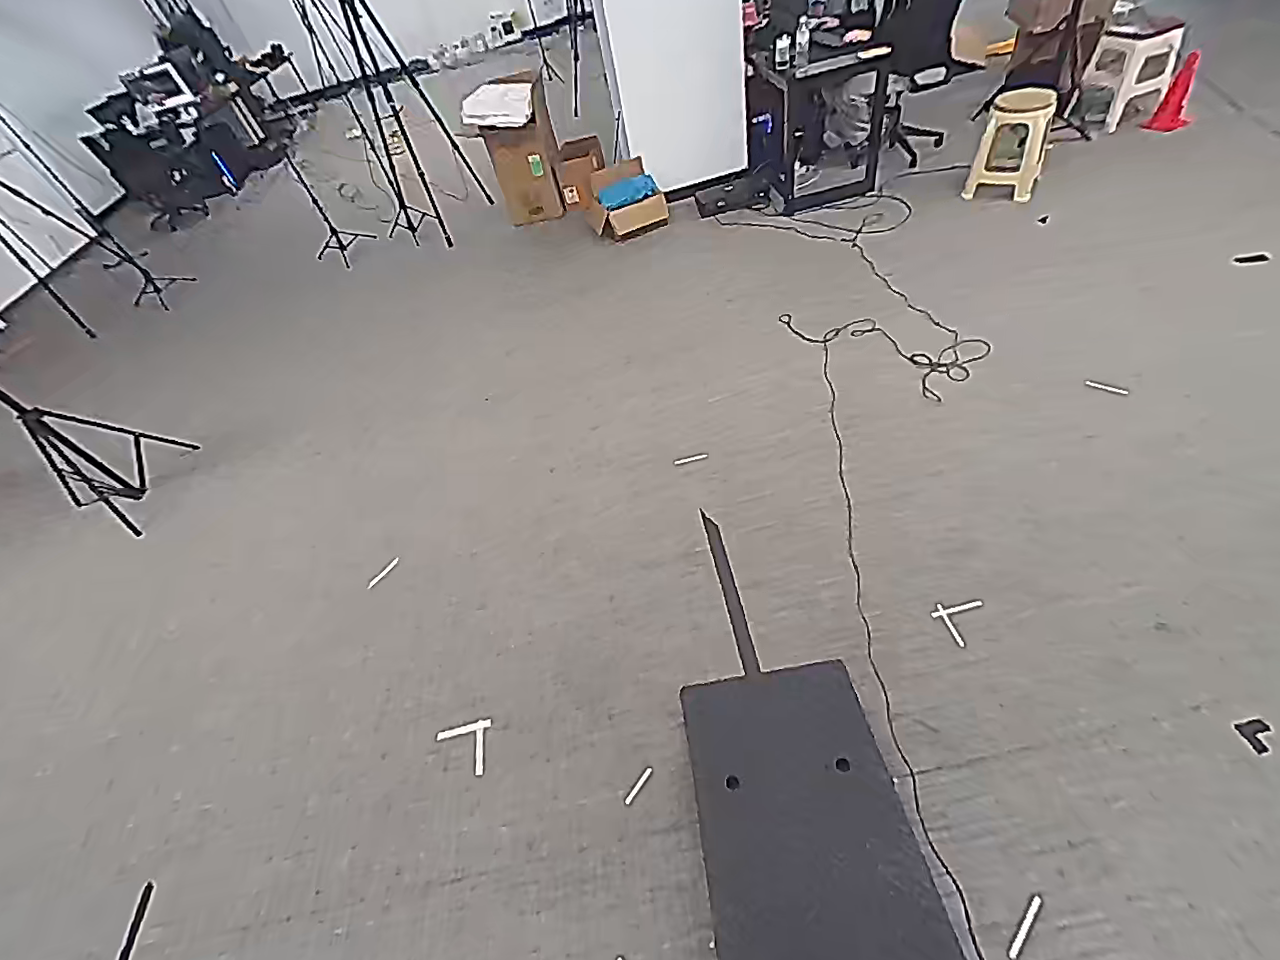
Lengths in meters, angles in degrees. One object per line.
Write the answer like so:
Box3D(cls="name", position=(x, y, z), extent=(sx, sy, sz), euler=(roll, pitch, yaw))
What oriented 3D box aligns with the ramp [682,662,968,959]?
Box3D(cls="ramp", position=(0.393, 0.891, 1.221), extent=(0.509, 0.206, 0.991), euler=(-14, 47, 4))
